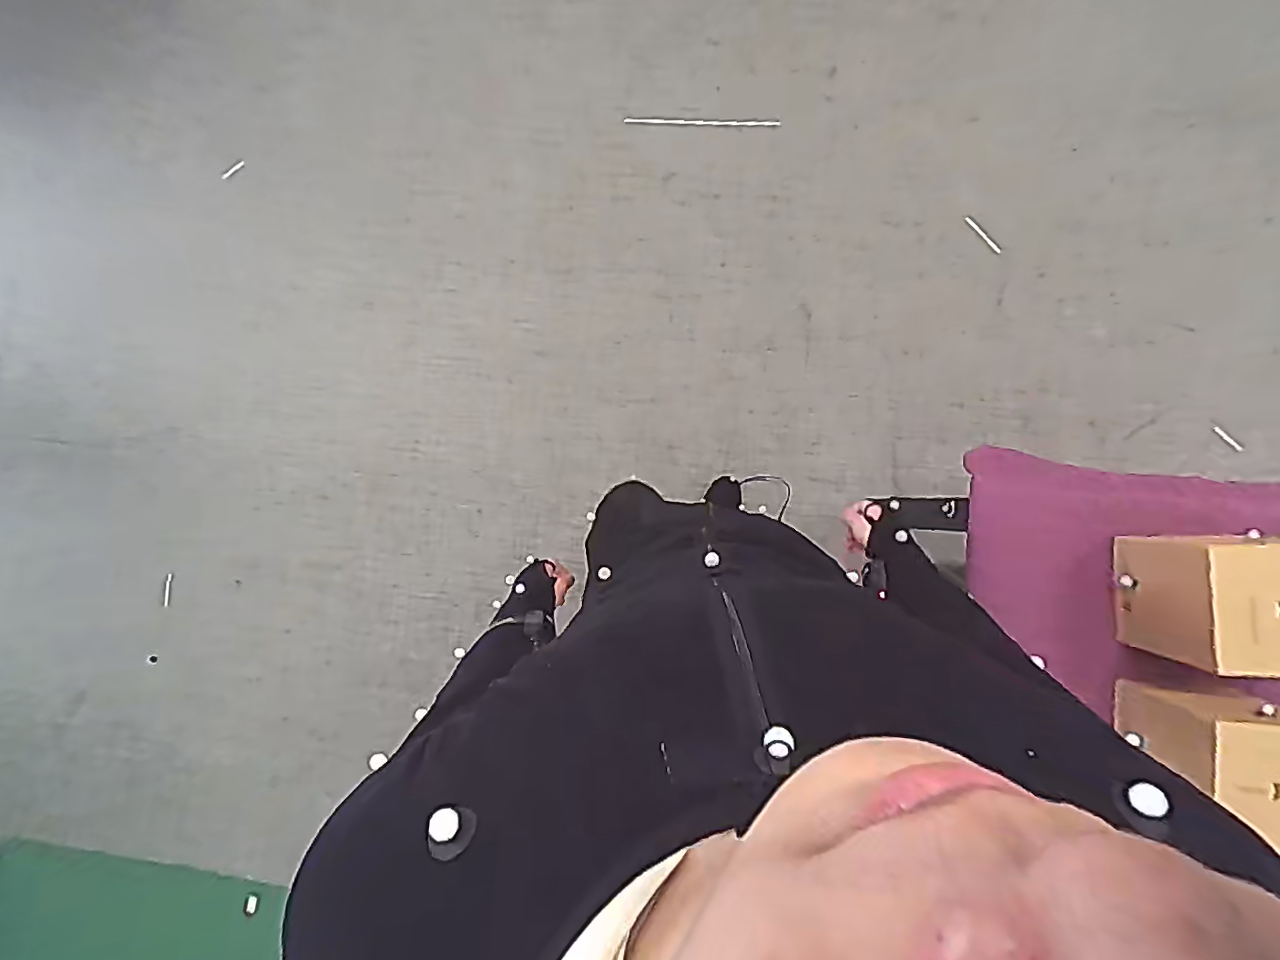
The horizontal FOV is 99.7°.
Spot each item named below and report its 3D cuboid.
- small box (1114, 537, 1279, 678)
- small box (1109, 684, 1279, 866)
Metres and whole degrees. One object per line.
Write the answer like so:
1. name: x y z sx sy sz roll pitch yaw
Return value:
1. small box: 0.816 0.167 0.751 0.179 0.176 0.168 0 87 6
2. small box: 0.808 0.395 0.745 0.179 0.176 0.168 4 88 7
